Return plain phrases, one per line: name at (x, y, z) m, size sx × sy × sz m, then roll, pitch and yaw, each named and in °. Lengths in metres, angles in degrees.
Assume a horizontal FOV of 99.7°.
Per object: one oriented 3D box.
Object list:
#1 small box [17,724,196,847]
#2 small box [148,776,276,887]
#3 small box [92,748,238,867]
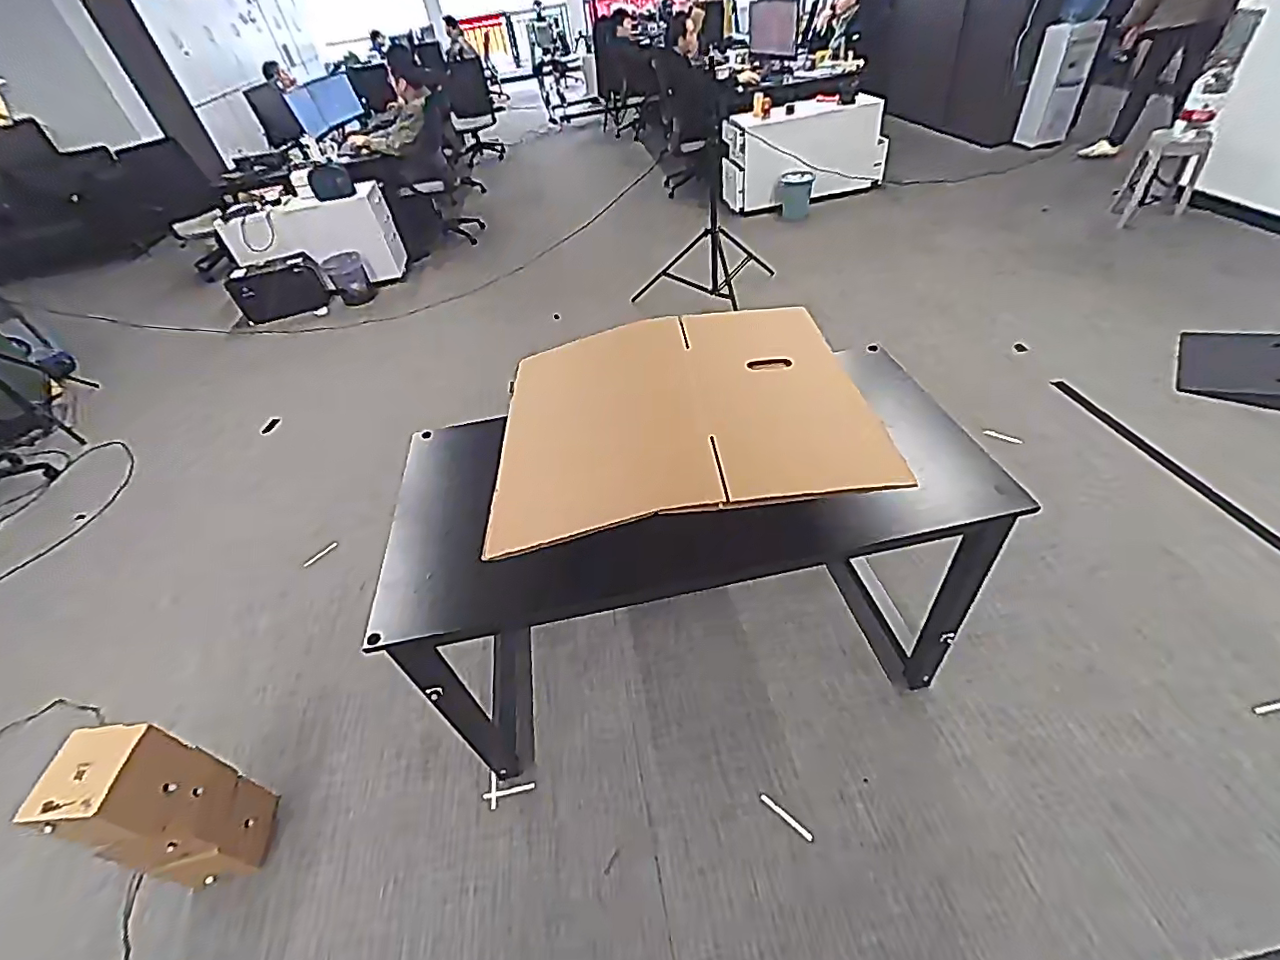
small box at (-1.088, 0.638, 1.128) m, size 0.168 × 0.176 × 0.179 m, roll -6°, pitch 42°, yaw 3°
small box at (-1.048, 0.877, 1.347) m, size 0.168 × 0.176 × 0.179 m, roll -14°, pitch 44°, yaw -5°
small box at (-1.071, 0.756, 1.241) m, size 0.168 × 0.176 × 0.179 m, roll -16°, pitch 42°, yaw -8°
